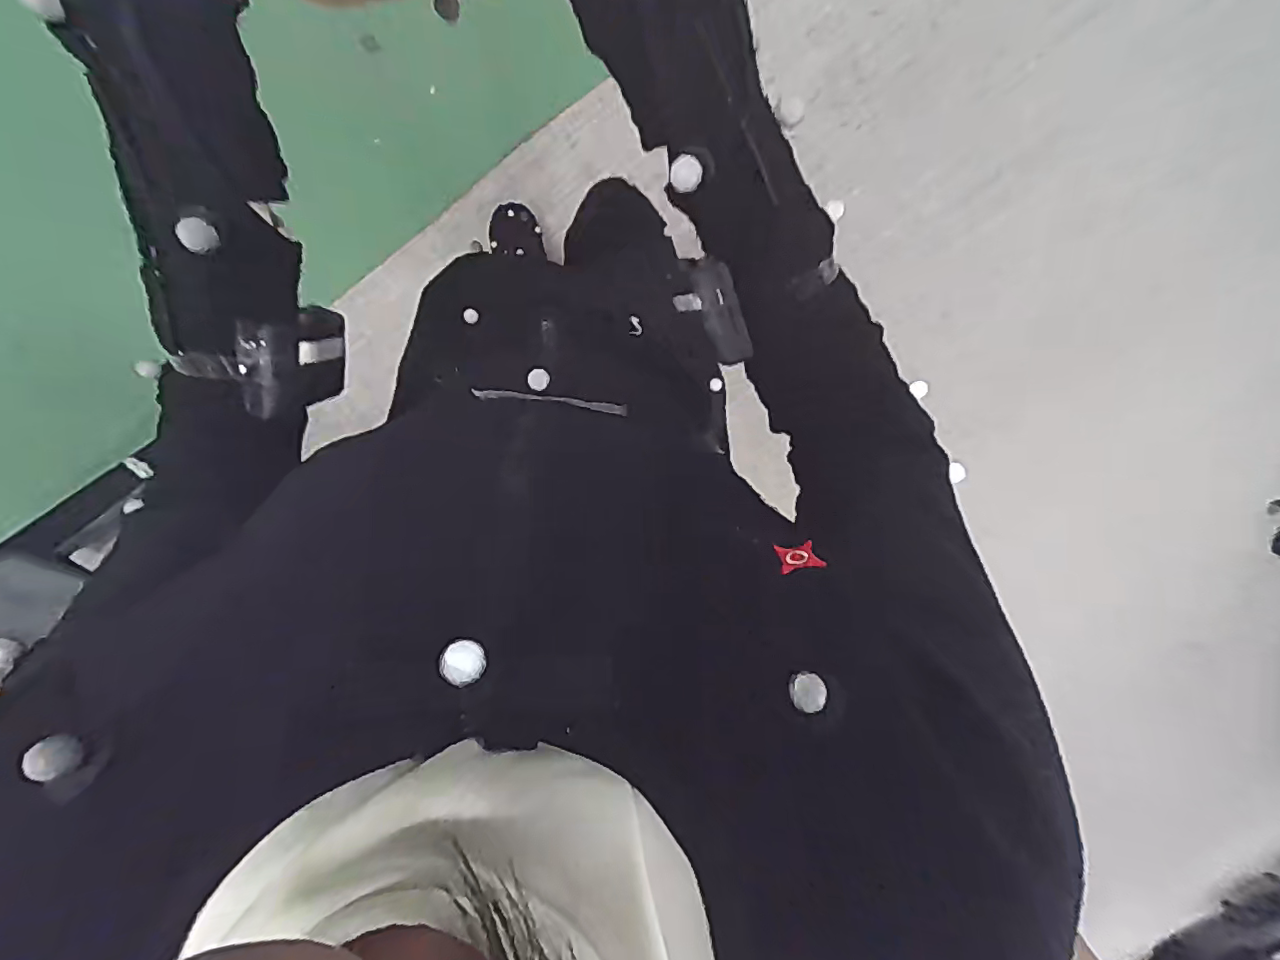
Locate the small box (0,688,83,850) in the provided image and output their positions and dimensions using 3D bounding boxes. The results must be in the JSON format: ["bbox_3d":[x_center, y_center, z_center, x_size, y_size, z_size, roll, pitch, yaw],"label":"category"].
[{"bbox_3d":[-0.864,0.379,0.666,0.179,0.176,0.168,-34,120,10],"label":"small box"}]

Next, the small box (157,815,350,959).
[{"bbox_3d":[-0.619,0.698,0.890,0.179,0.176,0.168,-34,119,10],"label":"small box"}]
